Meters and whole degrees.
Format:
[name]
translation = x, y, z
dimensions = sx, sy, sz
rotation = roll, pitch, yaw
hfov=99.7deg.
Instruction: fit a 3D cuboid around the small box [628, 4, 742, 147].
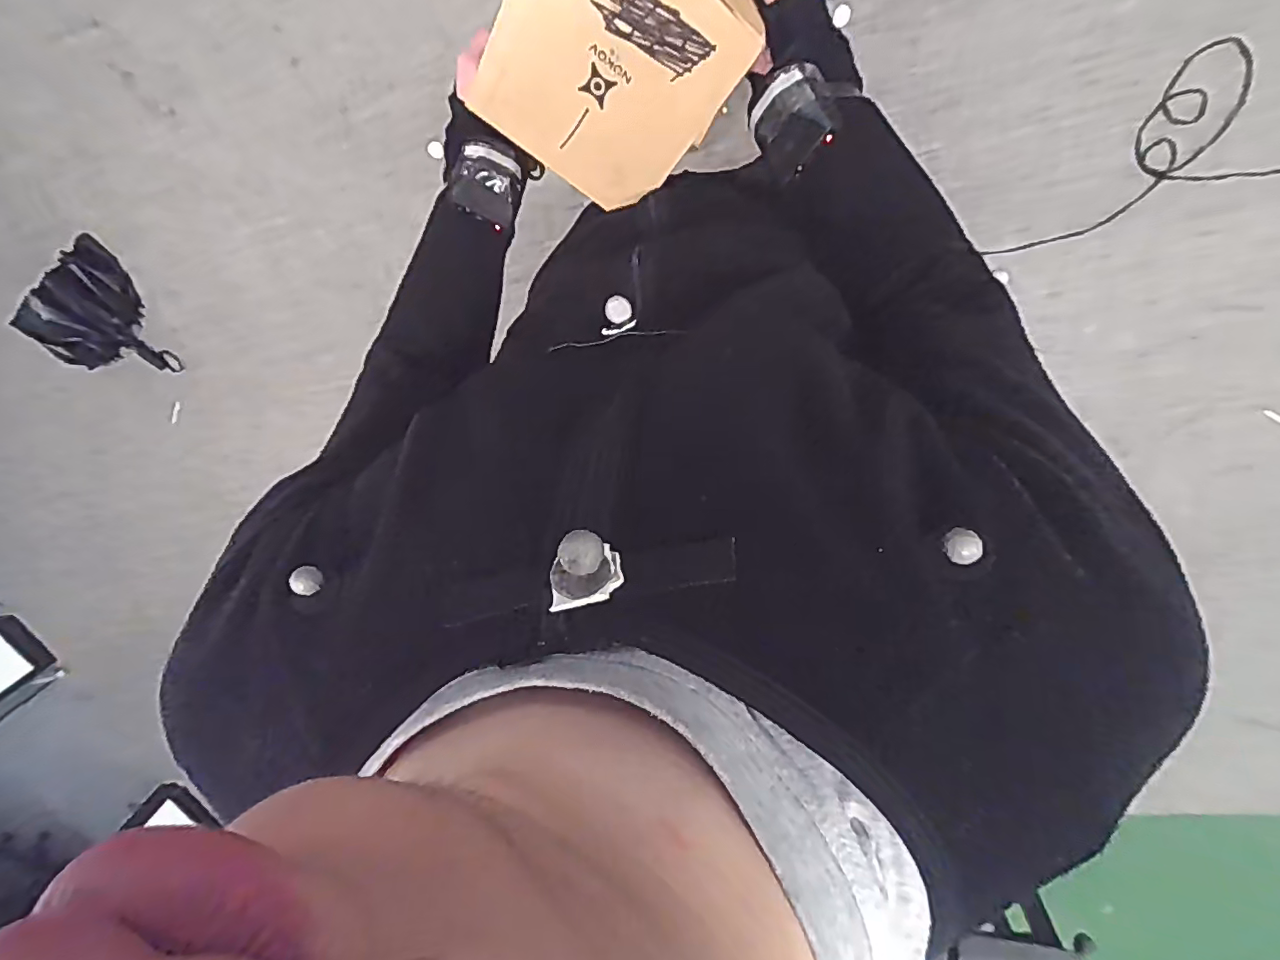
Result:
[small box]
translation = 0.096, -0.825, 1.129
dimensions = 0.168, 0.176, 0.179
rotation = 28, 118, -8
